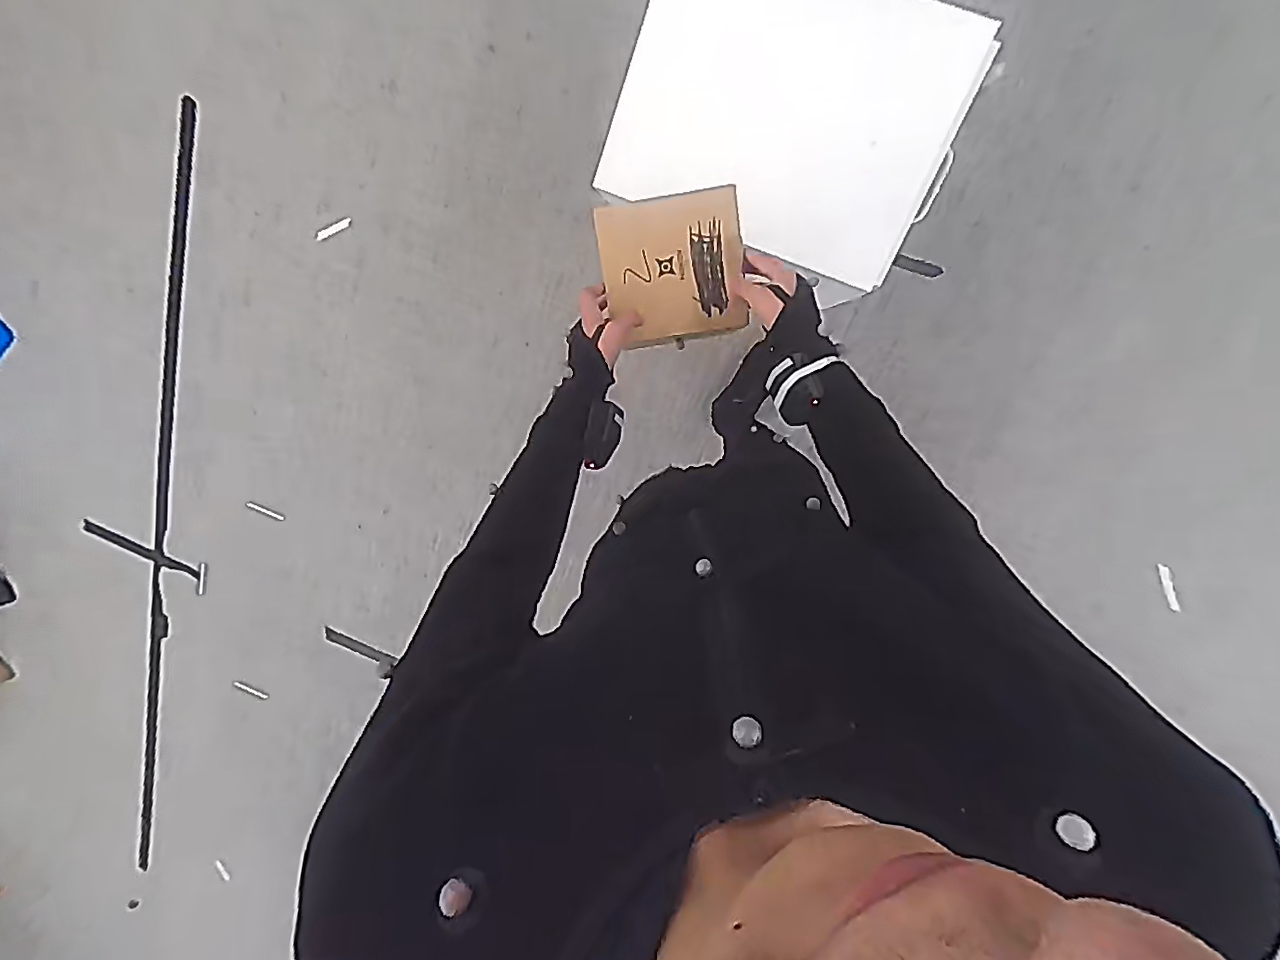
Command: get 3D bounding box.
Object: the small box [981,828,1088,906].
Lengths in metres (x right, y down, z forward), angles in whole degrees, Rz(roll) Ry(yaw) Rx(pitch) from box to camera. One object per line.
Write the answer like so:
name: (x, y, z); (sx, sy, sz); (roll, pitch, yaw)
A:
small box: (1.228, 1.243, 1.697); (0.179, 0.176, 0.168); (27, 107, 3)
